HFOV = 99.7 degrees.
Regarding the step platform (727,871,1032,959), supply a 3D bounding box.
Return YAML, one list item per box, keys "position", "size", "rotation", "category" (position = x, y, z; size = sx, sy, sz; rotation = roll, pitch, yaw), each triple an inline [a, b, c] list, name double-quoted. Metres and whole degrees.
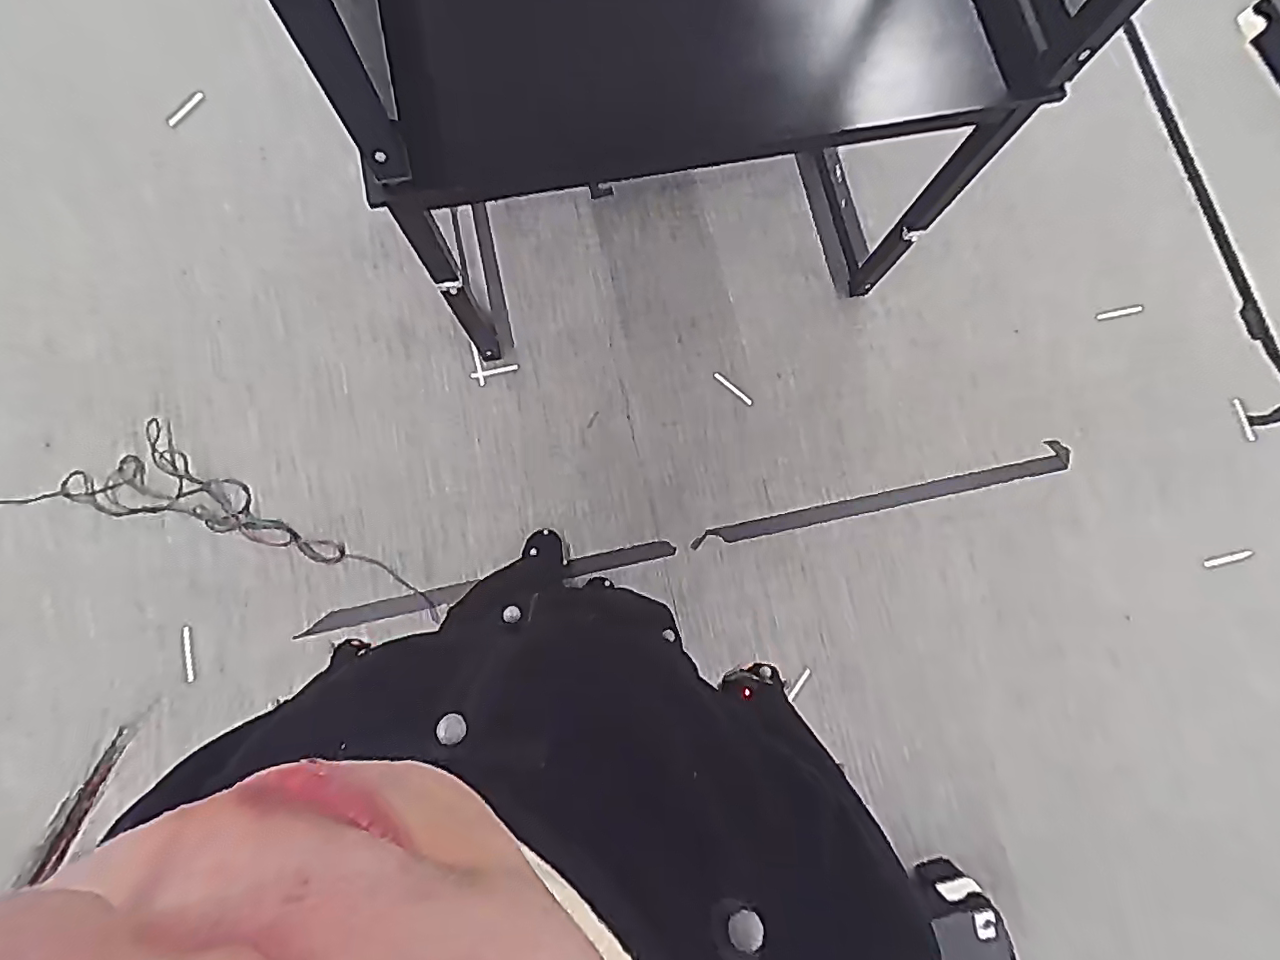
- position: [0.563, 1.171, 1.276]
  size: [0.684, 0.204, 0.286]
  rotation: [-6, 81, -5]
  category: "step platform"
